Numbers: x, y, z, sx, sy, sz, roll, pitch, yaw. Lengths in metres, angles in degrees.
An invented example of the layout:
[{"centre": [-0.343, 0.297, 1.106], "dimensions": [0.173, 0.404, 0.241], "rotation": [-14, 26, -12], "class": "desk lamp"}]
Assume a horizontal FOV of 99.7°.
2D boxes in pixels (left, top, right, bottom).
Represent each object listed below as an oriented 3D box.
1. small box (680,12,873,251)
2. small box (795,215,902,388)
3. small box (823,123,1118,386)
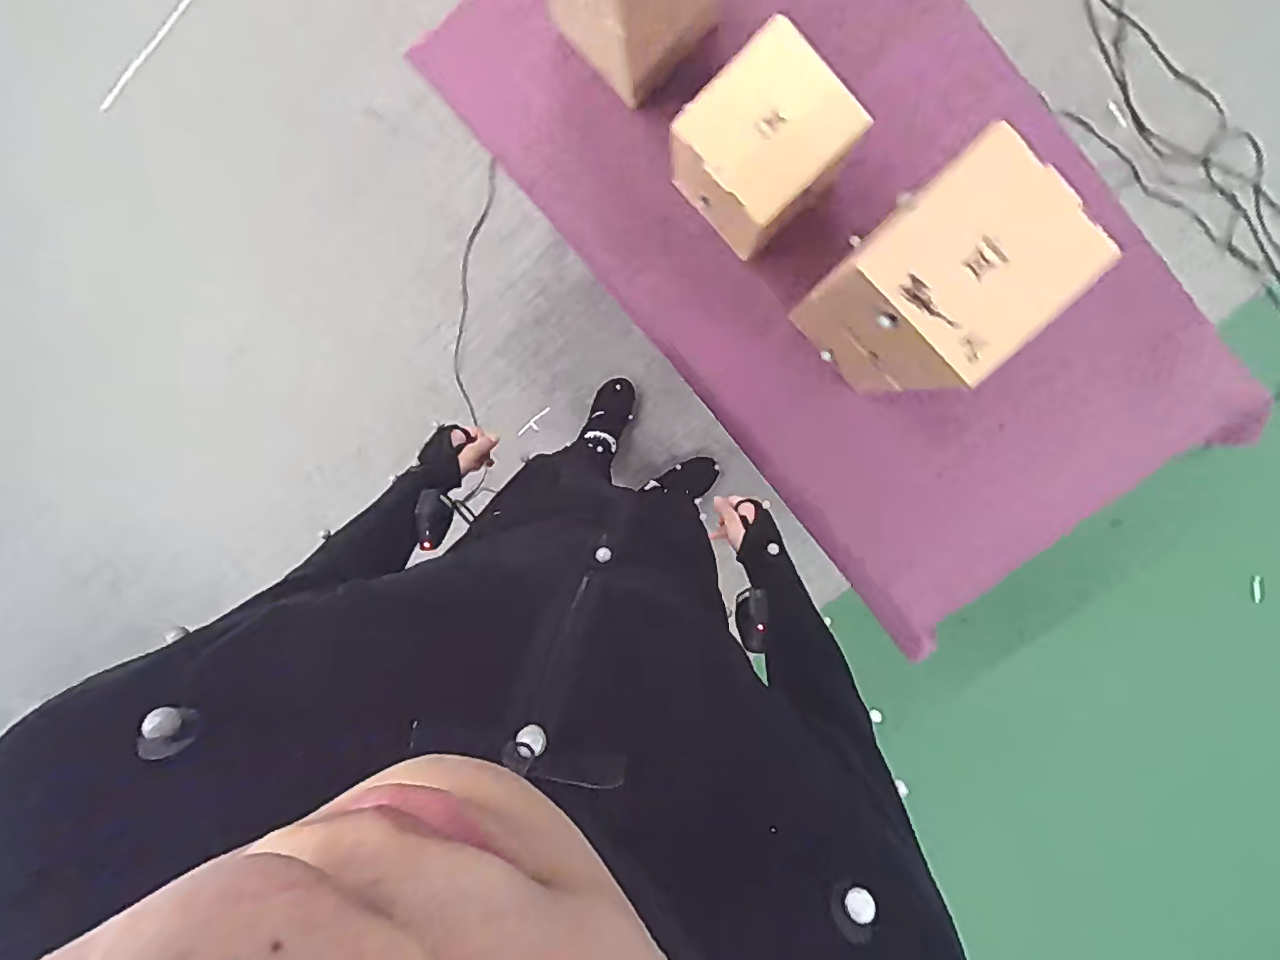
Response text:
[{"centre": [0.168, -0.445, 0.727], "dimensions": [0.179, 0.176, 0.168], "rotation": [-42, 94, 10], "class": "small box"}, {"centre": [0.341, -0.245, 0.744], "dimensions": [0.179, 0.176, 0.168], "rotation": [-43, 93, 10], "class": "small box"}, {"centre": [0.329, -0.219, 0.582], "dimensions": [0.179, 0.176, 0.168], "rotation": [-43, 93, 9], "class": "small box"}]
